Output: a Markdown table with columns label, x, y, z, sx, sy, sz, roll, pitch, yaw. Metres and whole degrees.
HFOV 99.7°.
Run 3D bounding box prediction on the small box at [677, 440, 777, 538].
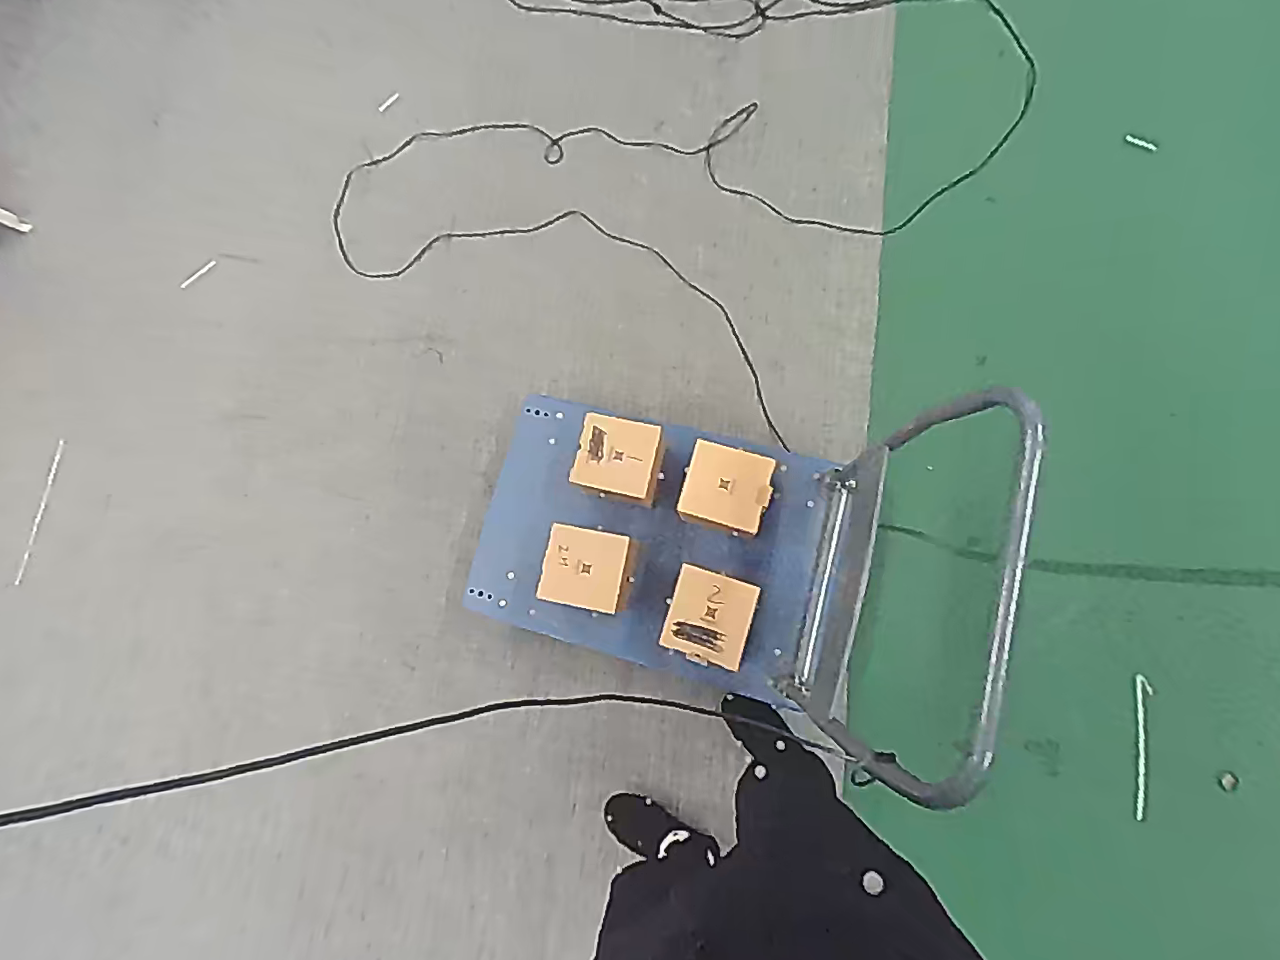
| label | x | y | z | sx | sy | sz | roll | pitch | yaw |
| --- | --- | --- | --- | --- | --- | --- | --- | --- | --- |
| small box | 0.193 | 0.028 | 1.221 | 0.179 | 0.176 | 0.168 | 17 | 81 | 9 |

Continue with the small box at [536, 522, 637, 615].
| label | x | y | z | sx | sy | sz | roll | pitch | yaw |
| --- | --- | --- | --- | --- | --- | --- | --- | --- | --- |
| small box | -0.111 | 0.199 | 1.221 | 0.179 | 0.176 | 0.168 | 11 | 80 | 9 |

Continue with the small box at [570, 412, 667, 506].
| label | x | y | z | sx | sy | sz | roll | pitch | yaw |
| --- | --- | --- | --- | --- | --- | --- | --- | --- | --- |
| small box | -0.042 | -0.043 | 1.260 | 0.179 | 0.176 | 0.168 | 13 | 82 | 8 |
